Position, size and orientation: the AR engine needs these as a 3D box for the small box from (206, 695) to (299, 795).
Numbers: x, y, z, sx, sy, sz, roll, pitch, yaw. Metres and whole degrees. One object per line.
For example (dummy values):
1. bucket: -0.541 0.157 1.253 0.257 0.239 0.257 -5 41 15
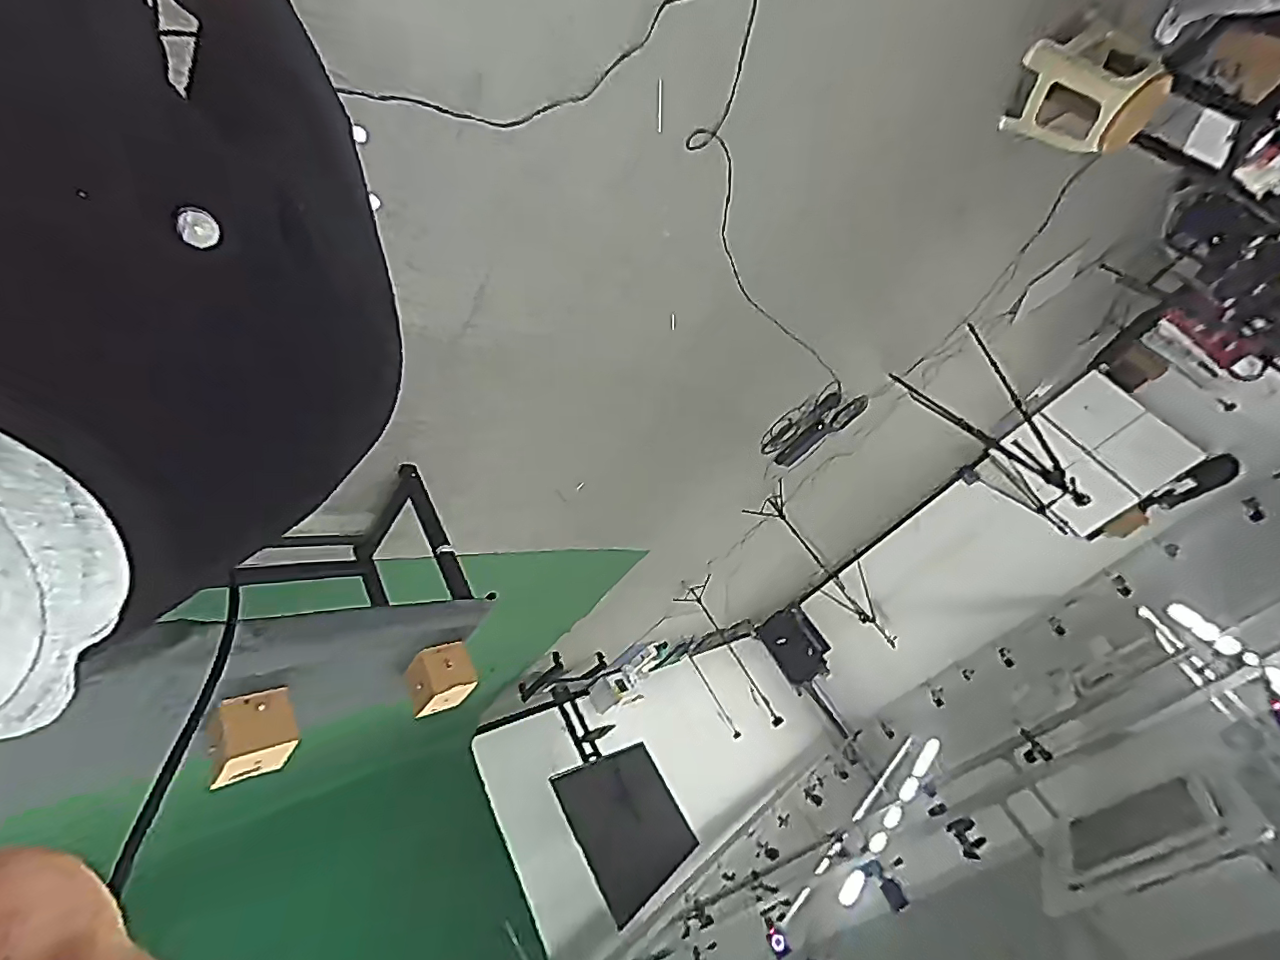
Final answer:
1. small box: -1.091 0.735 1.516 0.168 0.176 0.179 4 133 -52

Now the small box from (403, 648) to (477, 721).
1. small box: -0.717 0.717 1.923 0.168 0.176 0.179 2 135 -50
